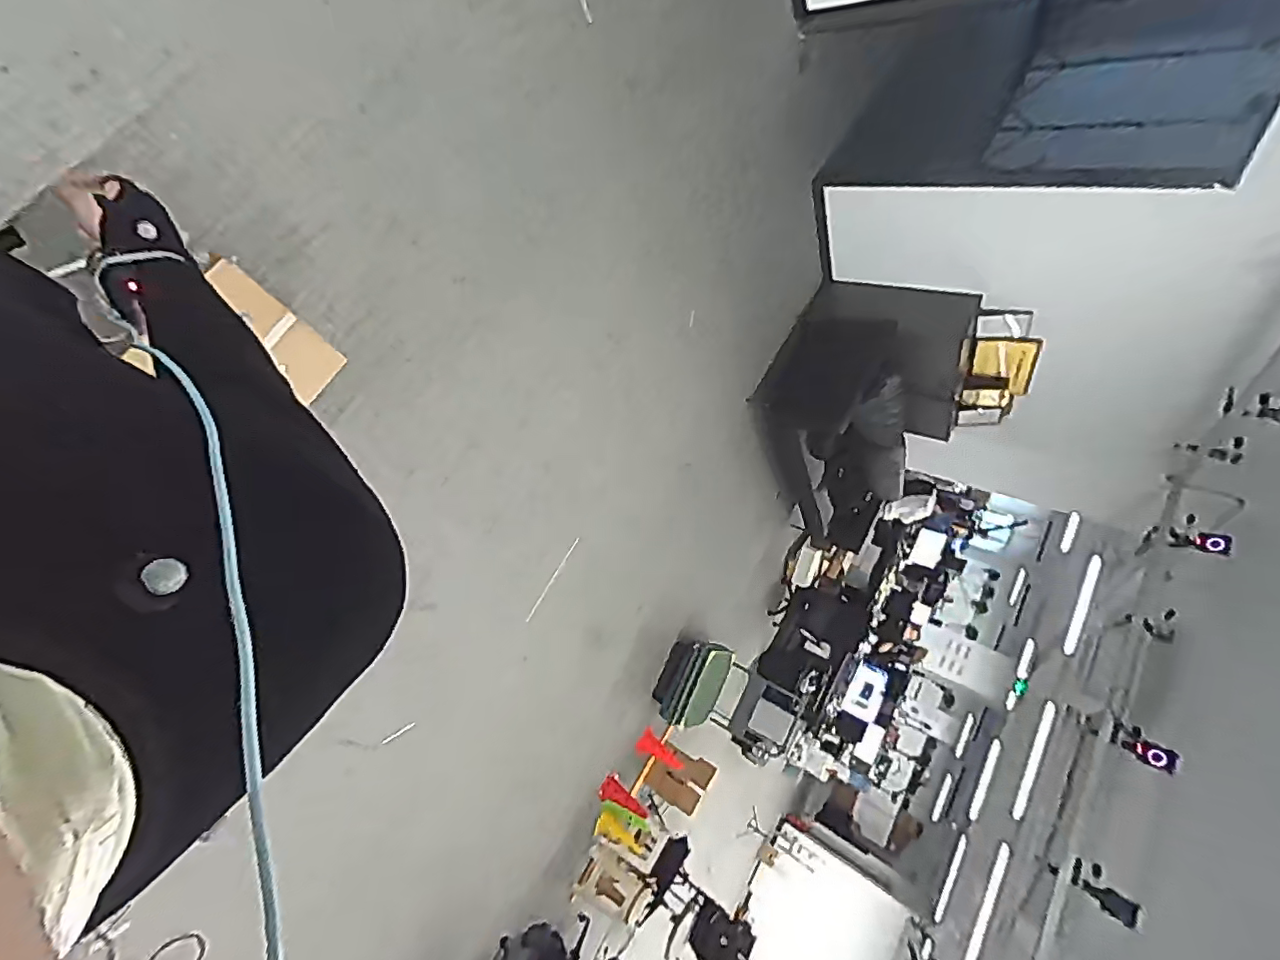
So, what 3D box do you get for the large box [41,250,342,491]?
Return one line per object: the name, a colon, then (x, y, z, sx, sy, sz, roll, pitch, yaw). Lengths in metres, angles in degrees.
large box: (-0.982, -0.248, 1.207, 0.408, 0.320, 0.320, -59, 146, -16)
